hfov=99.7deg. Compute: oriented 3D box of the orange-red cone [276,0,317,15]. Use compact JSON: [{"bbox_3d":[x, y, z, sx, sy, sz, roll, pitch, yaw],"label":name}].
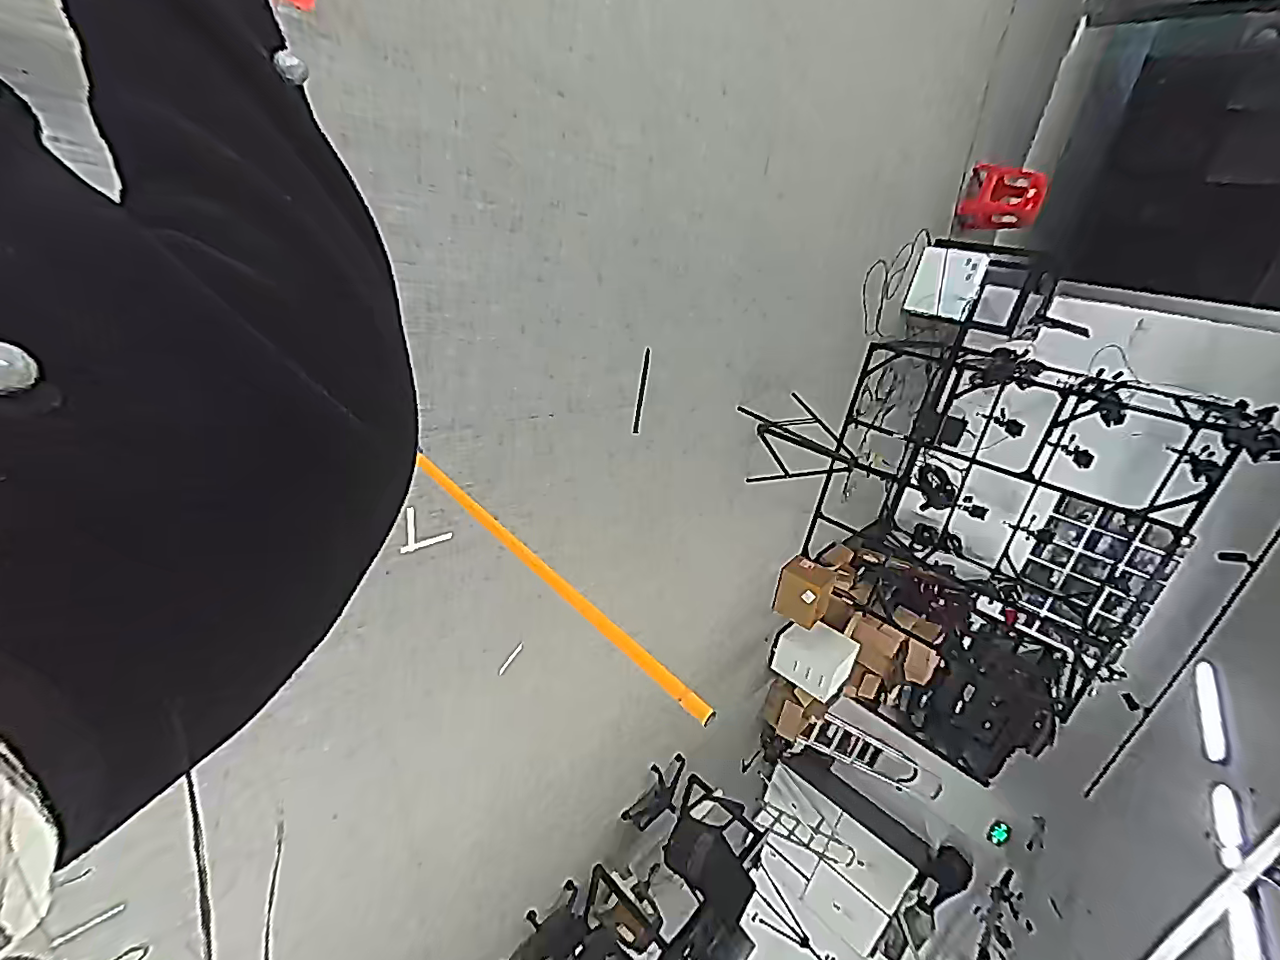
[{"bbox_3d":[-0.551,-0.918,0.863,0.199,0.360,0.198,-7,119,-50],"label":"orange-red cone"}]
